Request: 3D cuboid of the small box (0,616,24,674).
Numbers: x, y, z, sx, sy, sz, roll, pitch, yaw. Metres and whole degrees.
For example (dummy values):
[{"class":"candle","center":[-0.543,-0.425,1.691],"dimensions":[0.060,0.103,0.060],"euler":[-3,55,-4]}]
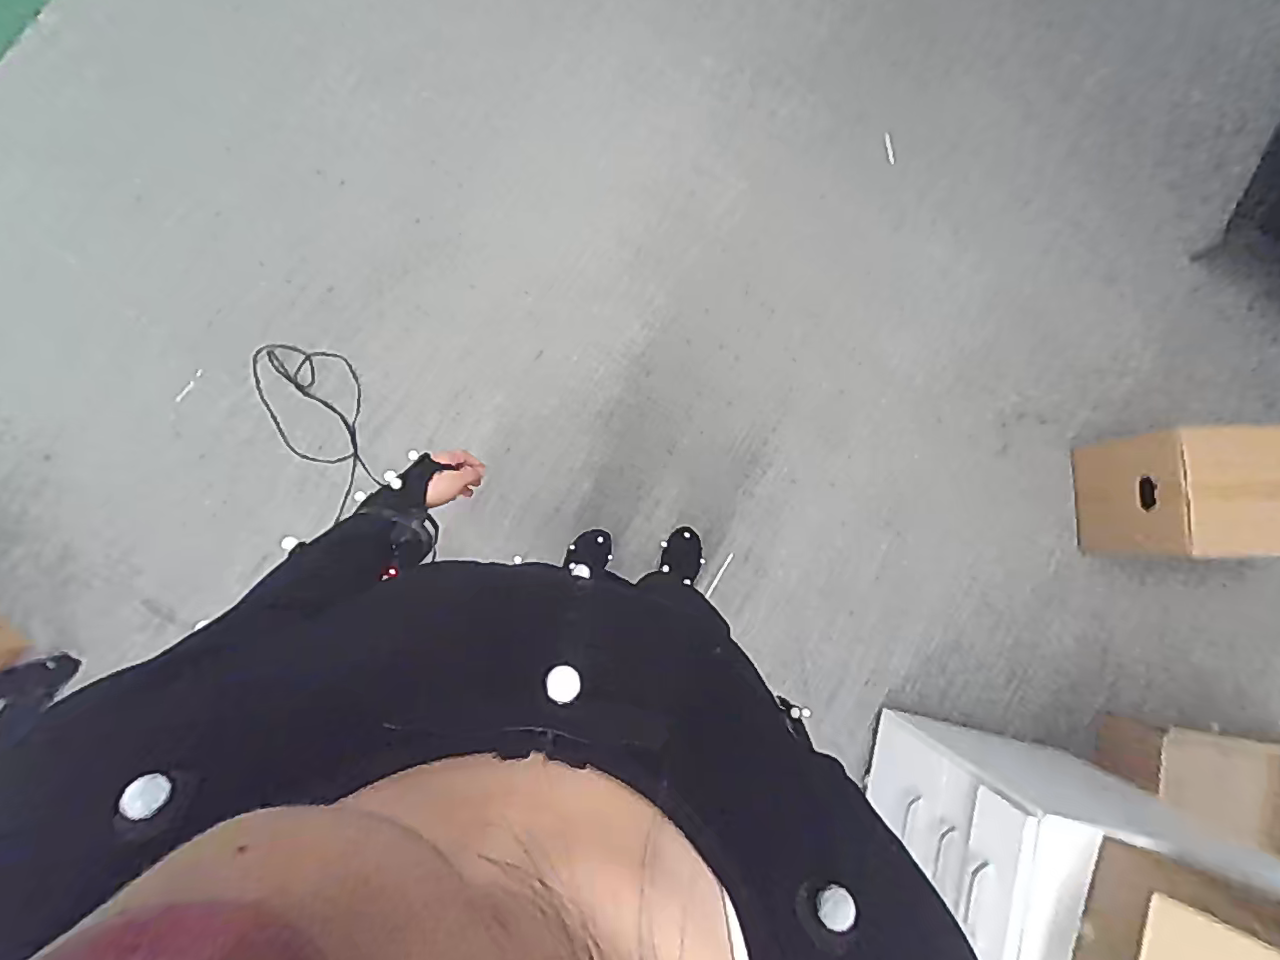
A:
[{"class":"small box","center":[-1.688,0.421,1.316],"dimensions":[0.168,0.176,0.179],"euler":[36,85,0]}]
